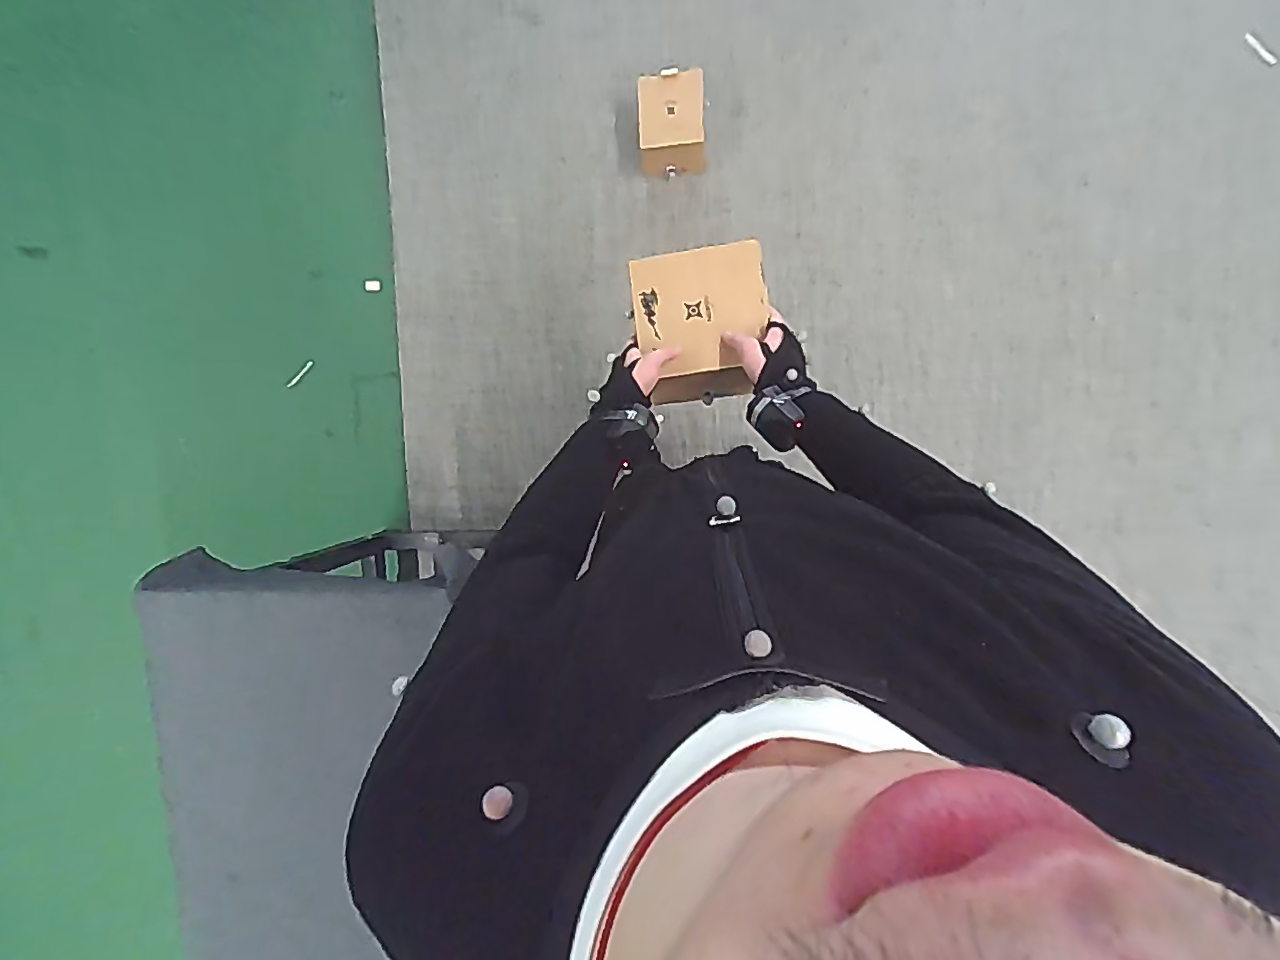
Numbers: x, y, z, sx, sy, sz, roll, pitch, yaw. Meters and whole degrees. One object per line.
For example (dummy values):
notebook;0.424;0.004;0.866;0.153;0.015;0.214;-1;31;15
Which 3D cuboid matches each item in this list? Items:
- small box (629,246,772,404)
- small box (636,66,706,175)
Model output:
small box;0.083;-0.213;0.787;0.179;0.176;0.168;-6;85;5
small box;0.084;-0.929;1.411;0.168;0.176;0.179;1;95;10
